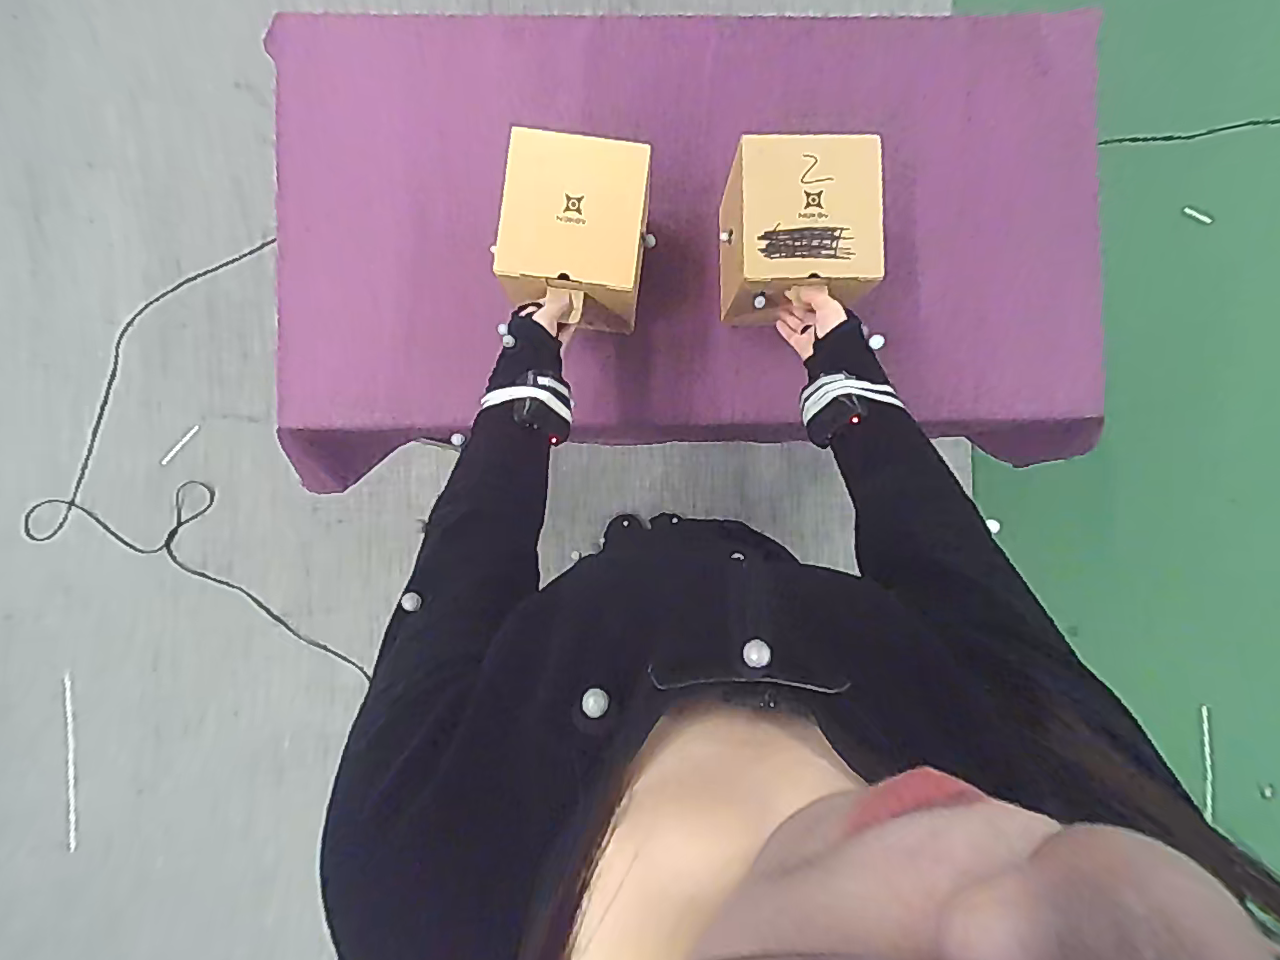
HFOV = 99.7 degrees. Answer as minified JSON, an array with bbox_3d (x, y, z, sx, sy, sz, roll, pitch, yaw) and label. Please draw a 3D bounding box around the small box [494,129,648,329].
[{"bbox_3d":[-0.085,-0.320,0.722,0.168,0.176,0.179,7,89,-1],"label":"small box"}]
